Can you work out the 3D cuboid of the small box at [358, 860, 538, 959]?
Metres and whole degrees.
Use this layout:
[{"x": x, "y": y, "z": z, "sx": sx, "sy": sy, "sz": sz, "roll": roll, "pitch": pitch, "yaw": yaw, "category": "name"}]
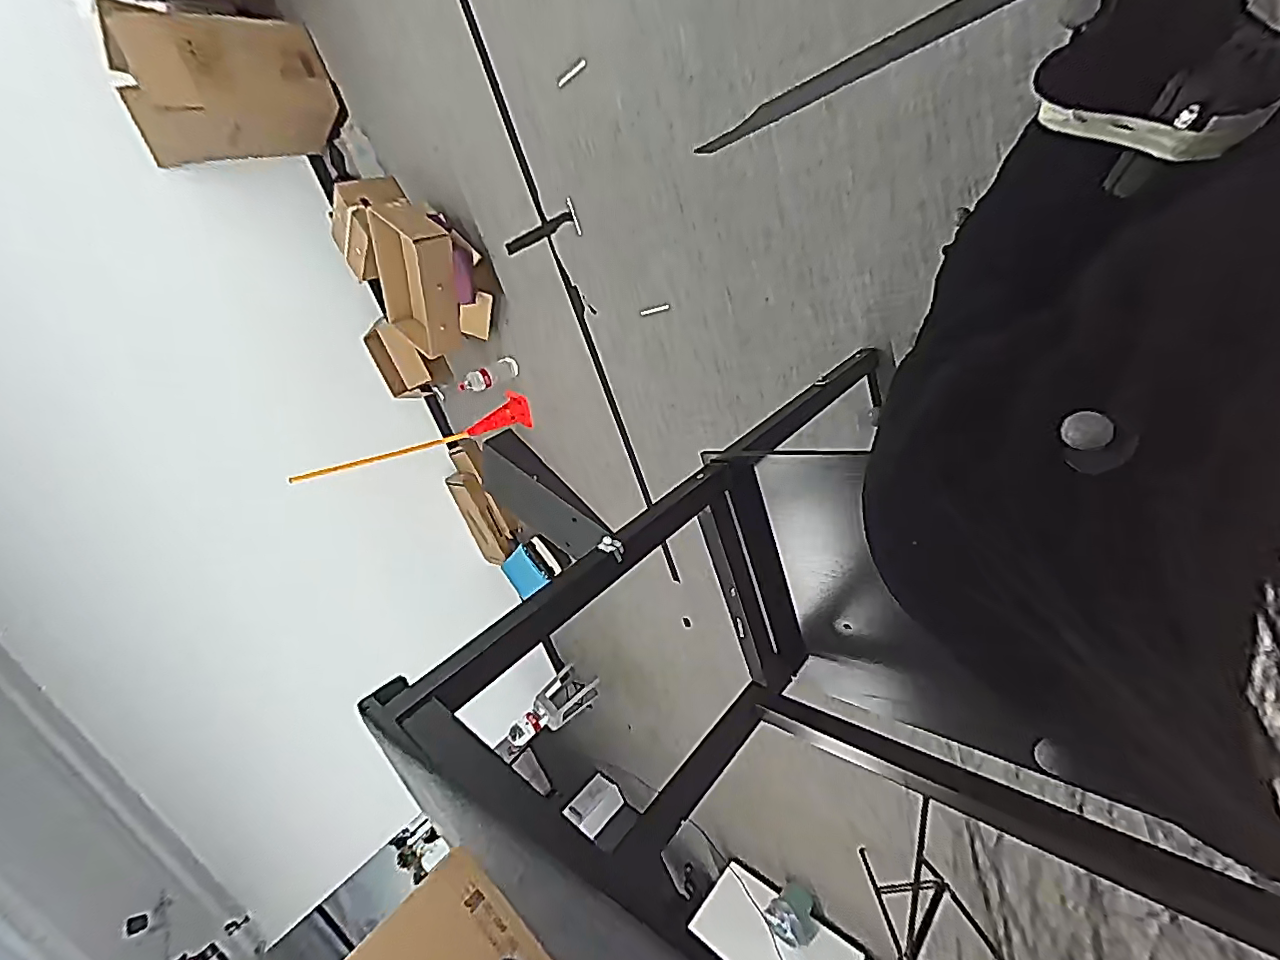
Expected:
[{"x": -0.150, "y": 0.468, "z": 0.441, "sx": 0.168, "sy": 0.176, "sz": 0.179, "roll": 9, "pitch": 126, "yaw": 46, "category": "small box"}]
